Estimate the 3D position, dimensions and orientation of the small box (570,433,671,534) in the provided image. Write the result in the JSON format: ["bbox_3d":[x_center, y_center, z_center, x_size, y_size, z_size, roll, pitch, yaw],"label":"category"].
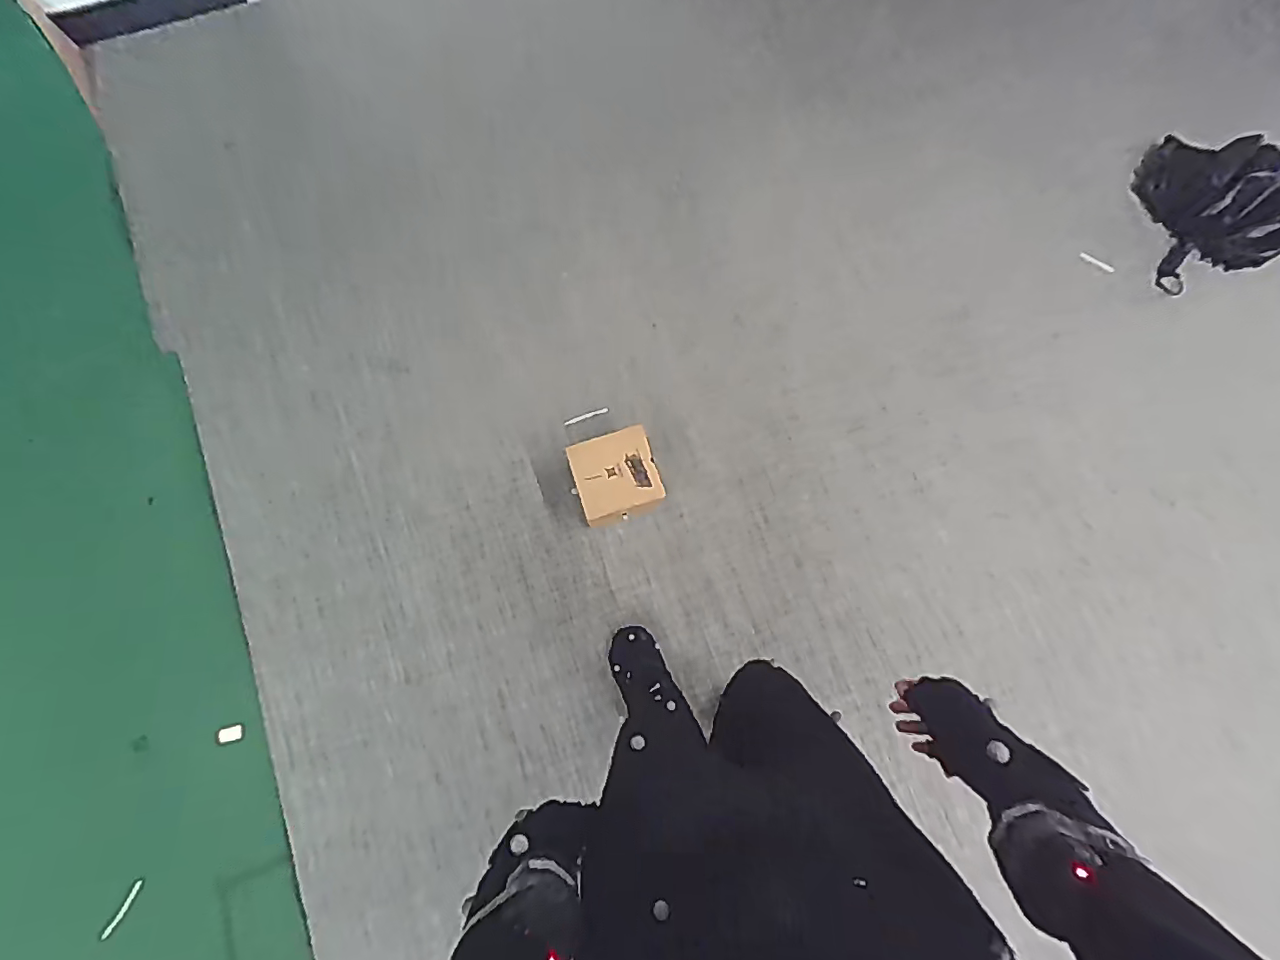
[{"bbox_3d":[-0.046,0.015,1.218,0.179,0.176,0.168,-20,81,-6],"label":"small box"}]
